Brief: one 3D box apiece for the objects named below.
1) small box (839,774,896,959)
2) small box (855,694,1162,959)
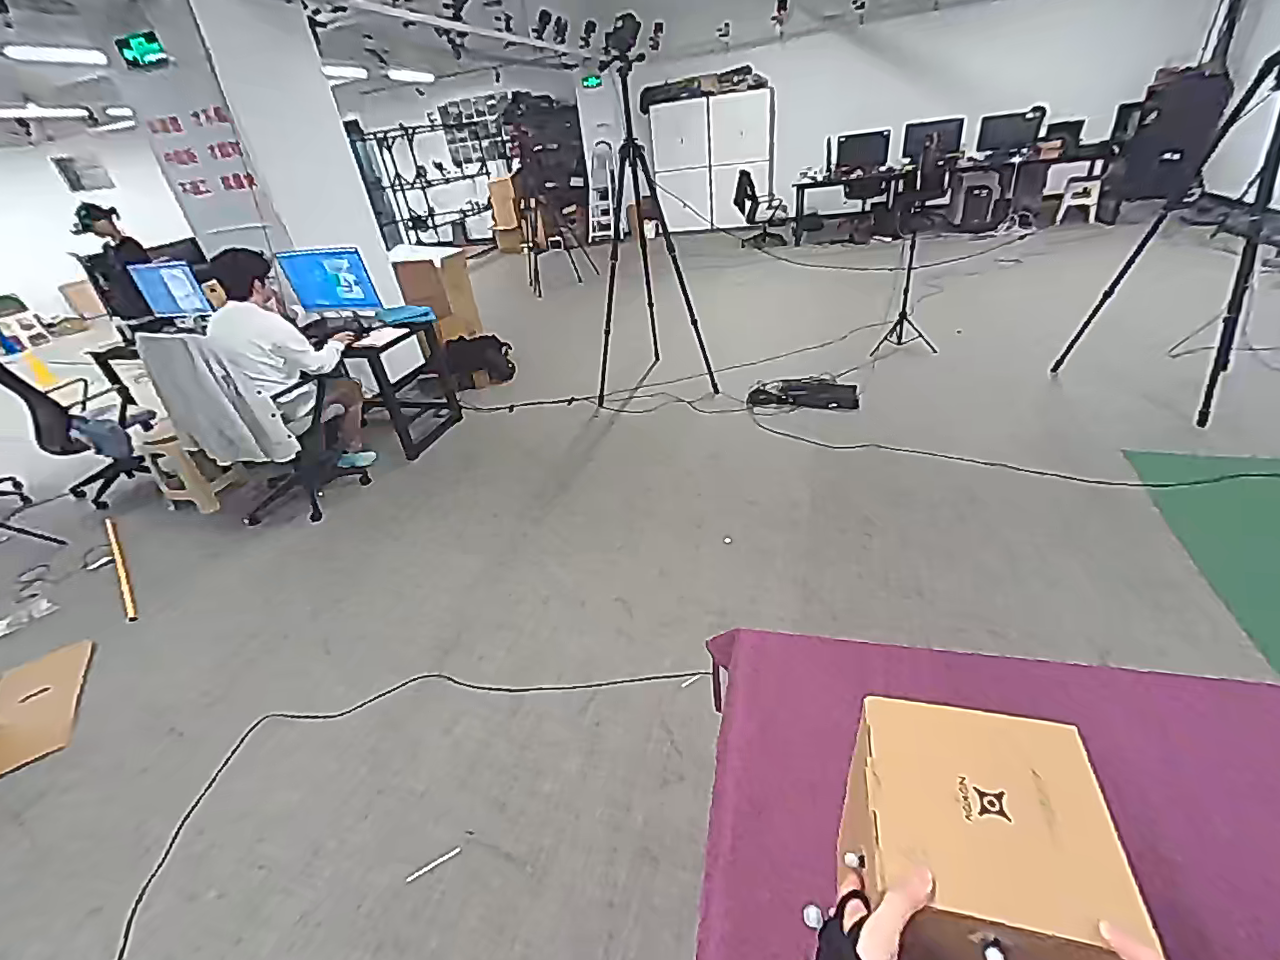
[{"bbox_3d":[0.308,0.458,0.577,0.168,0.176,0.179,4,35,18],"label":"small box"},{"bbox_3d":[0.290,0.322,0.481,0.179,0.176,0.168,3,39,17],"label":"small box"}]
